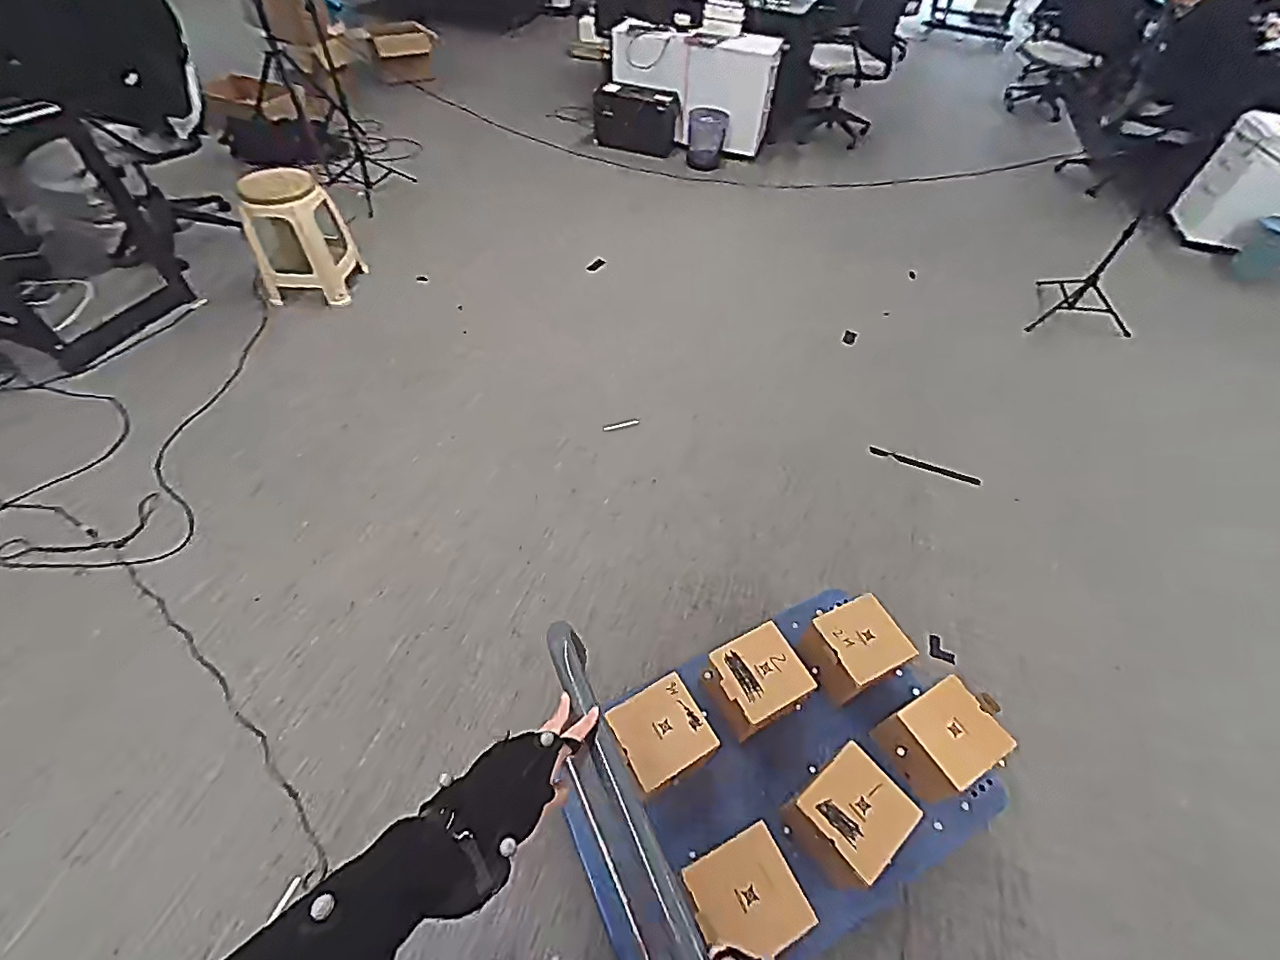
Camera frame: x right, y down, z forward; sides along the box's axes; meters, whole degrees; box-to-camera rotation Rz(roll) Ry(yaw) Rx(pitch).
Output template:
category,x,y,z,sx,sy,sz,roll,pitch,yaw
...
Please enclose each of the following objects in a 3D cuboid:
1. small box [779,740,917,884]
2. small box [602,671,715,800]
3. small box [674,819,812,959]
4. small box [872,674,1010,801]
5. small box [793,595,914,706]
category,x,y,z,sx,sy,sz,roll,pitch,yaw
small box,0.396,0.657,1.067,0.179,0.176,0.168,-30,59,-26
small box,0.033,0.539,1.134,0.179,0.176,0.168,-23,57,-20
small box,0.173,0.751,0.977,0.179,0.176,0.168,-19,56,-19
small box,0.630,0.558,1.164,0.179,0.176,0.168,-22,56,-20
small box,0.493,0.404,1.275,0.179,0.176,0.168,-19,55,-17
